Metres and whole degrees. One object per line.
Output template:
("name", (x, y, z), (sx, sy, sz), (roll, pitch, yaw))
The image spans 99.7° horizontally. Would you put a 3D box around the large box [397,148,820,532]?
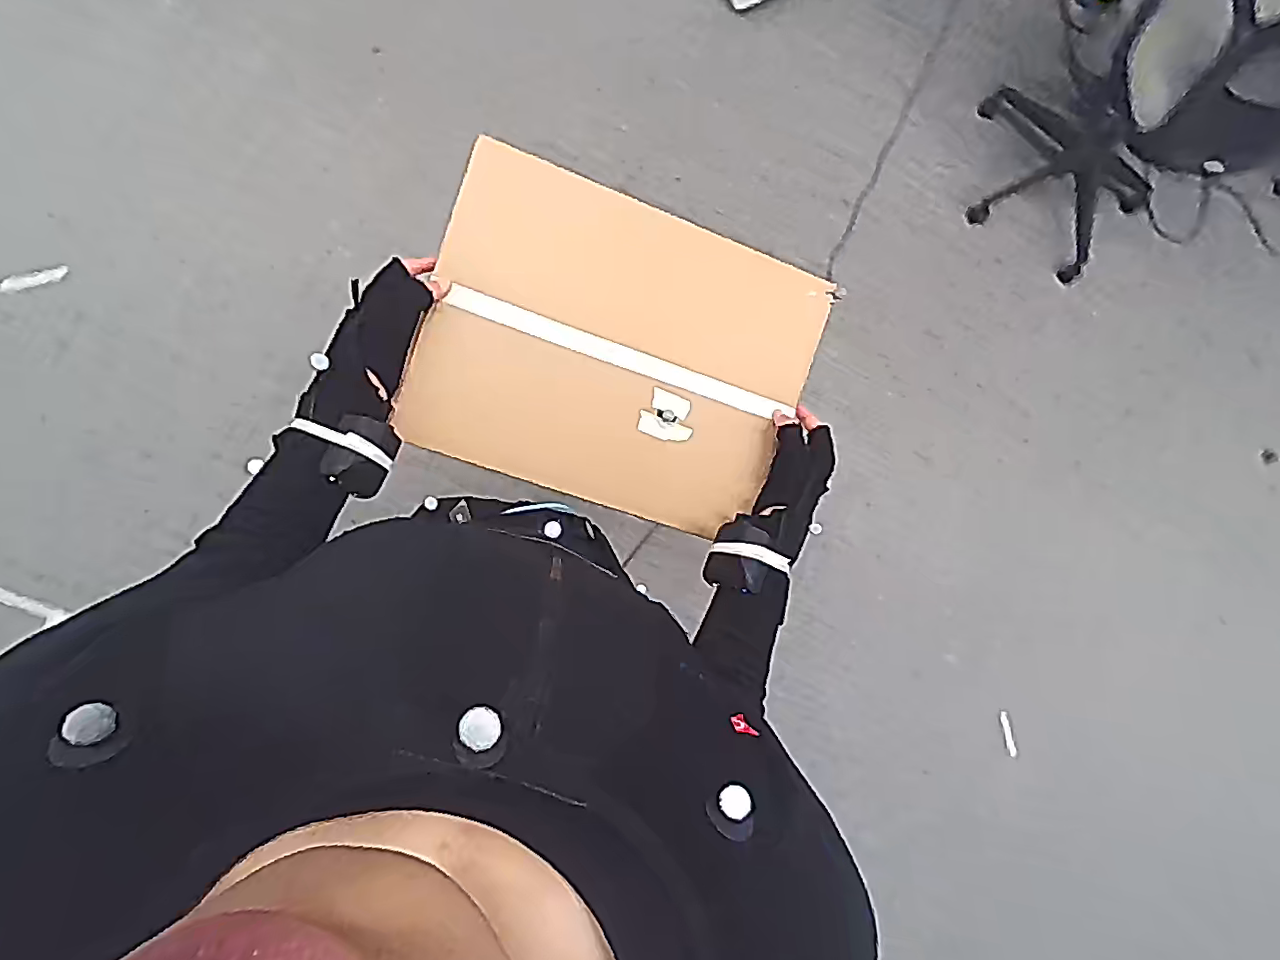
("large box", (-0.048, -0.151, 0.732), (0.408, 0.320, 0.320), (18, 93, -10))
